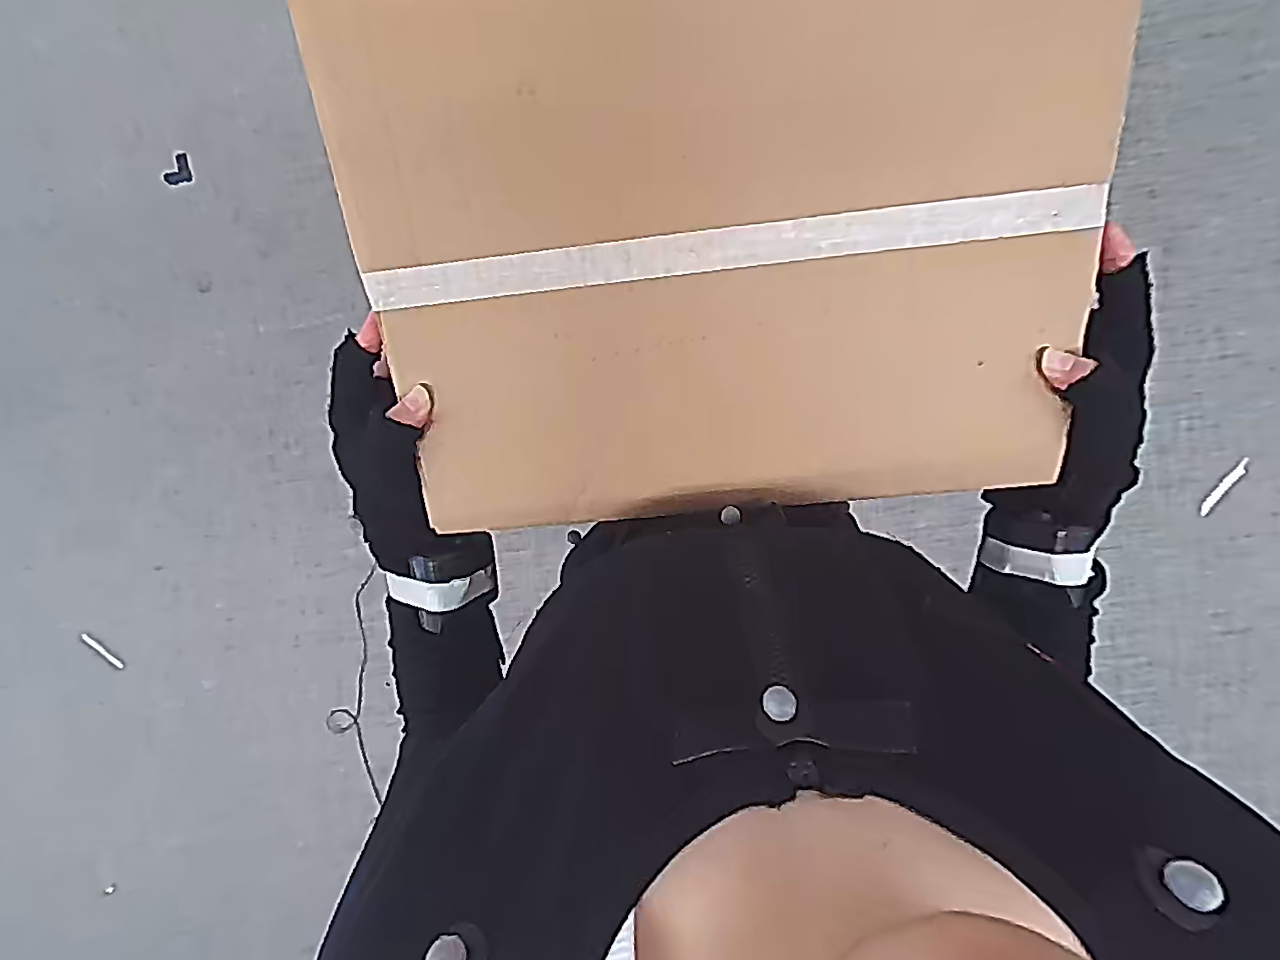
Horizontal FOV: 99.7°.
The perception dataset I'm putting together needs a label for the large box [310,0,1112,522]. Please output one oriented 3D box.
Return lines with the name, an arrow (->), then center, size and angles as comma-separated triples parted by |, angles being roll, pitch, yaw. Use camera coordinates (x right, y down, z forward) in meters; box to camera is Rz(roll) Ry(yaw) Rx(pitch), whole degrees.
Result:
large box -> 0.046, -0.183, 0.449 | 0.408, 0.320, 0.320 | -5, 111, 3
